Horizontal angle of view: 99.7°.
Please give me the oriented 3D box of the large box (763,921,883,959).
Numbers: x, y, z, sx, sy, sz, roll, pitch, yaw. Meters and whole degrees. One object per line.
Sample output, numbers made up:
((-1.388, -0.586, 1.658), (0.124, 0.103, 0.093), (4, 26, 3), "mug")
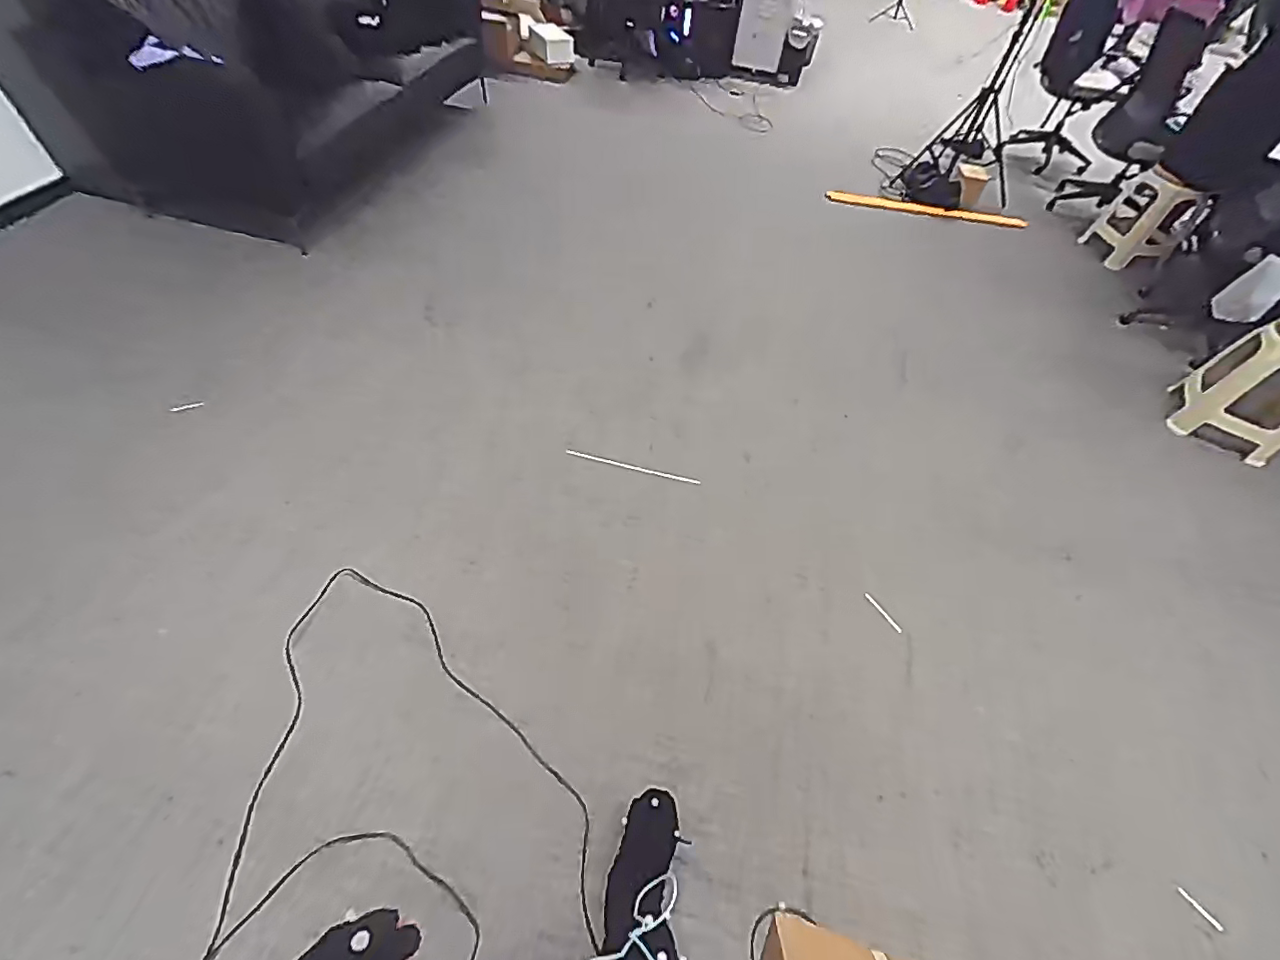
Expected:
((0.286, 0.847, 0.608), (0.320, 0.408, 0.320), (19, 87, 6), "large box")
